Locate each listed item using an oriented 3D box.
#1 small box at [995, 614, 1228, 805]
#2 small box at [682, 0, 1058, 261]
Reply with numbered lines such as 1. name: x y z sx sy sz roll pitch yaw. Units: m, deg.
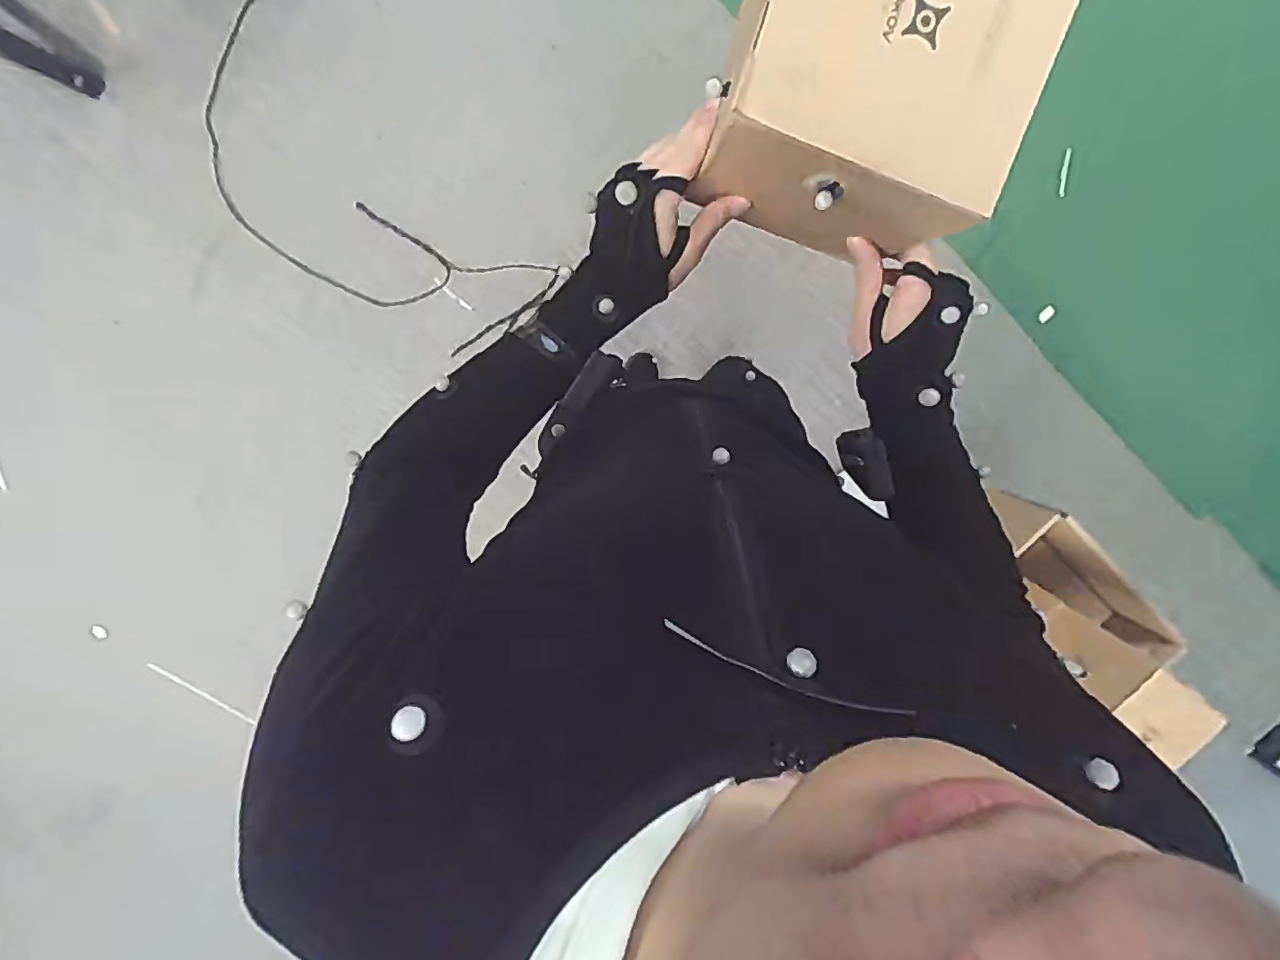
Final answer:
1. small box: 0.707 0.342 0.834 0.168 0.176 0.179 35 101 -11
2. small box: 0.141 -0.276 0.389 0.179 0.176 0.168 16 100 -8
